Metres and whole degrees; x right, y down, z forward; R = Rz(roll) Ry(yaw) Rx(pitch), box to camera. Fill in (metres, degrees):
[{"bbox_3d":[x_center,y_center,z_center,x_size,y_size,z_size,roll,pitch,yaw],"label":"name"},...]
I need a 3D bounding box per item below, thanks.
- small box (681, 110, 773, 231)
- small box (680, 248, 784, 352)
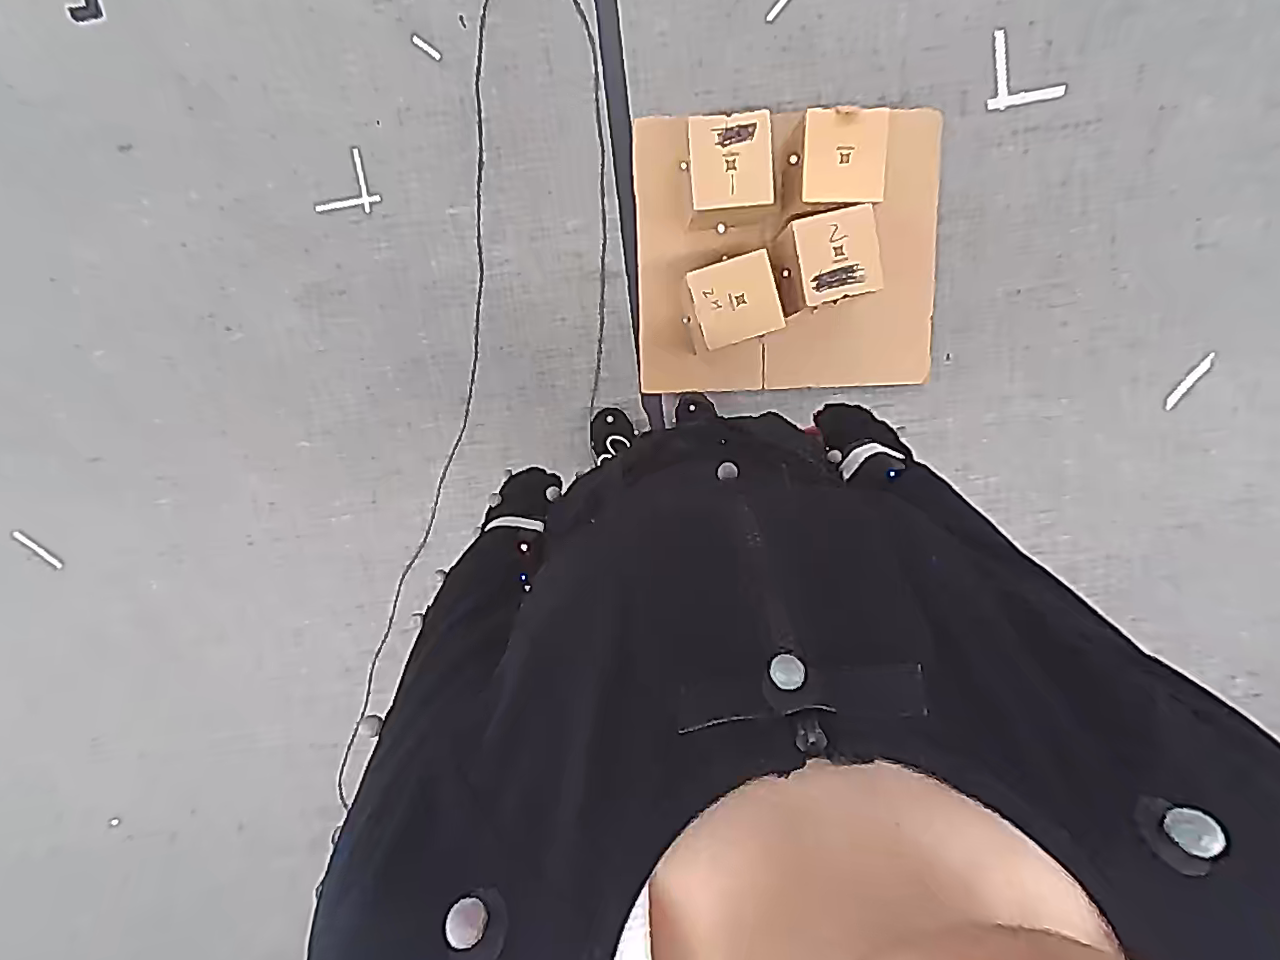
[{"bbox_3d":[0.180,-0.654,1.159,0.168,0.176,0.179,-5,101,0],"label":"small box"},{"bbox_3d":[0.197,-0.391,1.203,0.179,0.176,0.168,-17,99,2],"label":"small box"}]
